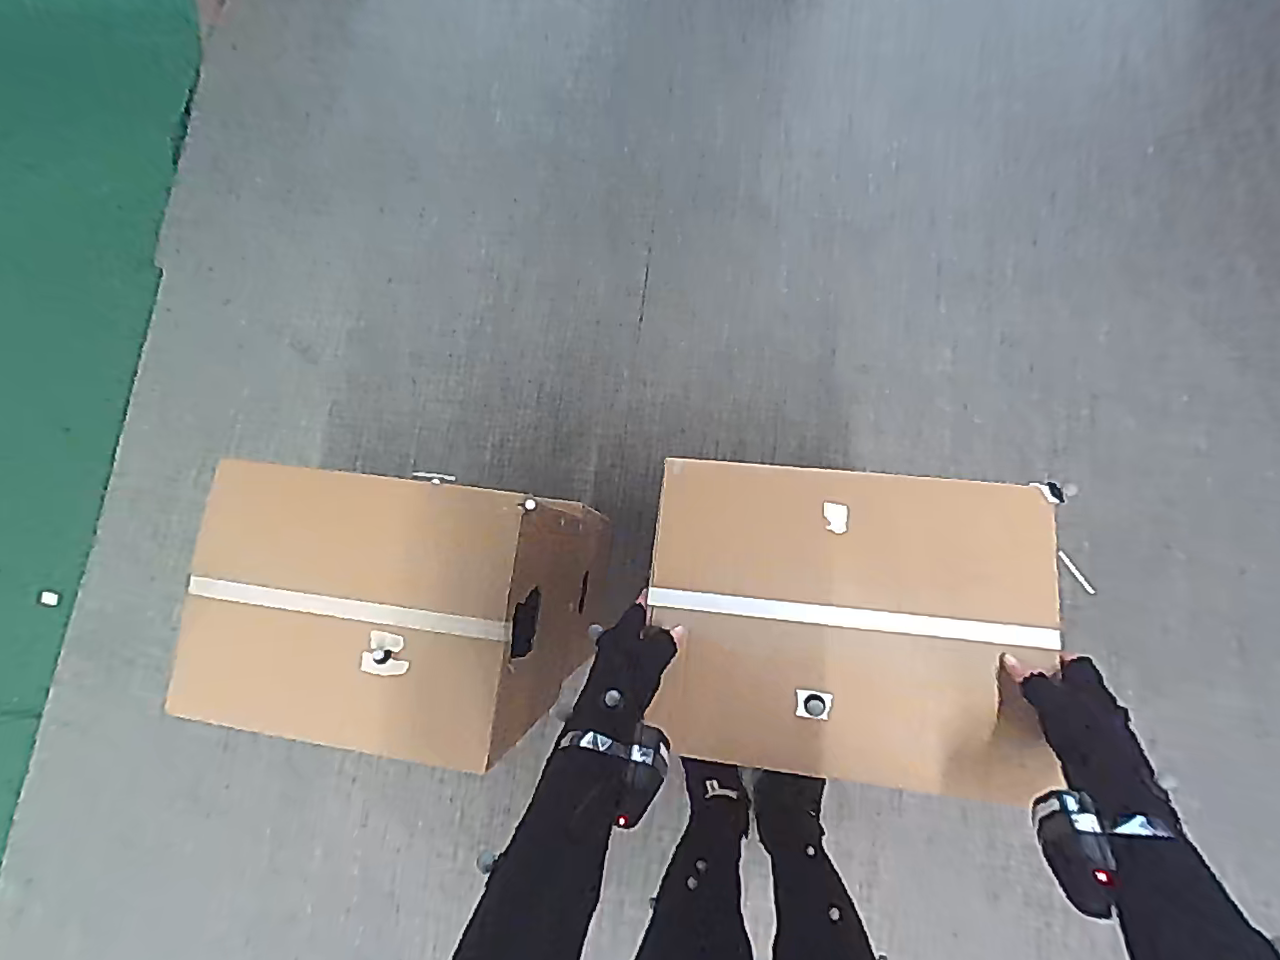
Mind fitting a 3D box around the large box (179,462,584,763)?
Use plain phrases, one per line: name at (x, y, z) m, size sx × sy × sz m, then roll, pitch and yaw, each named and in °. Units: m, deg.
large box at (-0.323, 0.170, 0.788) m, size 0.408 × 0.320 × 0.320 m, roll 7°, pitch 83°, yaw 6°
